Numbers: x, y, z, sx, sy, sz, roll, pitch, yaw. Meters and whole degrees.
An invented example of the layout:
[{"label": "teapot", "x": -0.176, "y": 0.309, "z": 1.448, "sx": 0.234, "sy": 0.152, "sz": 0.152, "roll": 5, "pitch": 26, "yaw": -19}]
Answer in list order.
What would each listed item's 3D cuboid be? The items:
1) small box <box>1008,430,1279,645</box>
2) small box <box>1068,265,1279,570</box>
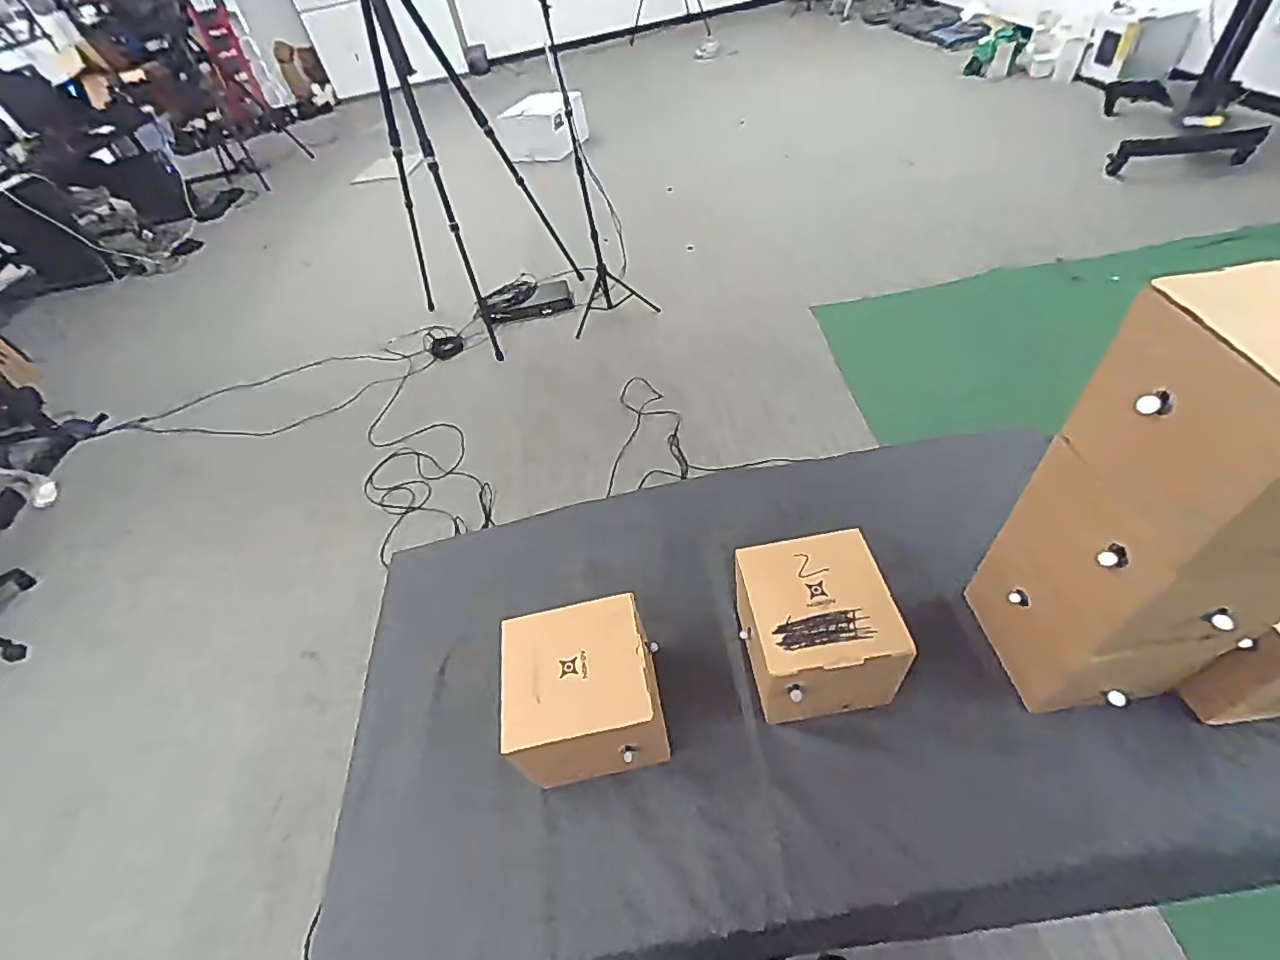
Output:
[{"label": "small box", "x": 0.526, "y": 0.055, "z": 0.555, "sx": 0.168, "sy": 0.176, "sz": 0.179, "roll": -9, "pitch": 47, "yaw": 4}, {"label": "small box", "x": 0.499, "y": -0.052, "z": 0.433, "sx": 0.168, "sy": 0.176, "sz": 0.179, "roll": -8, "pitch": 47, "yaw": 6}]
